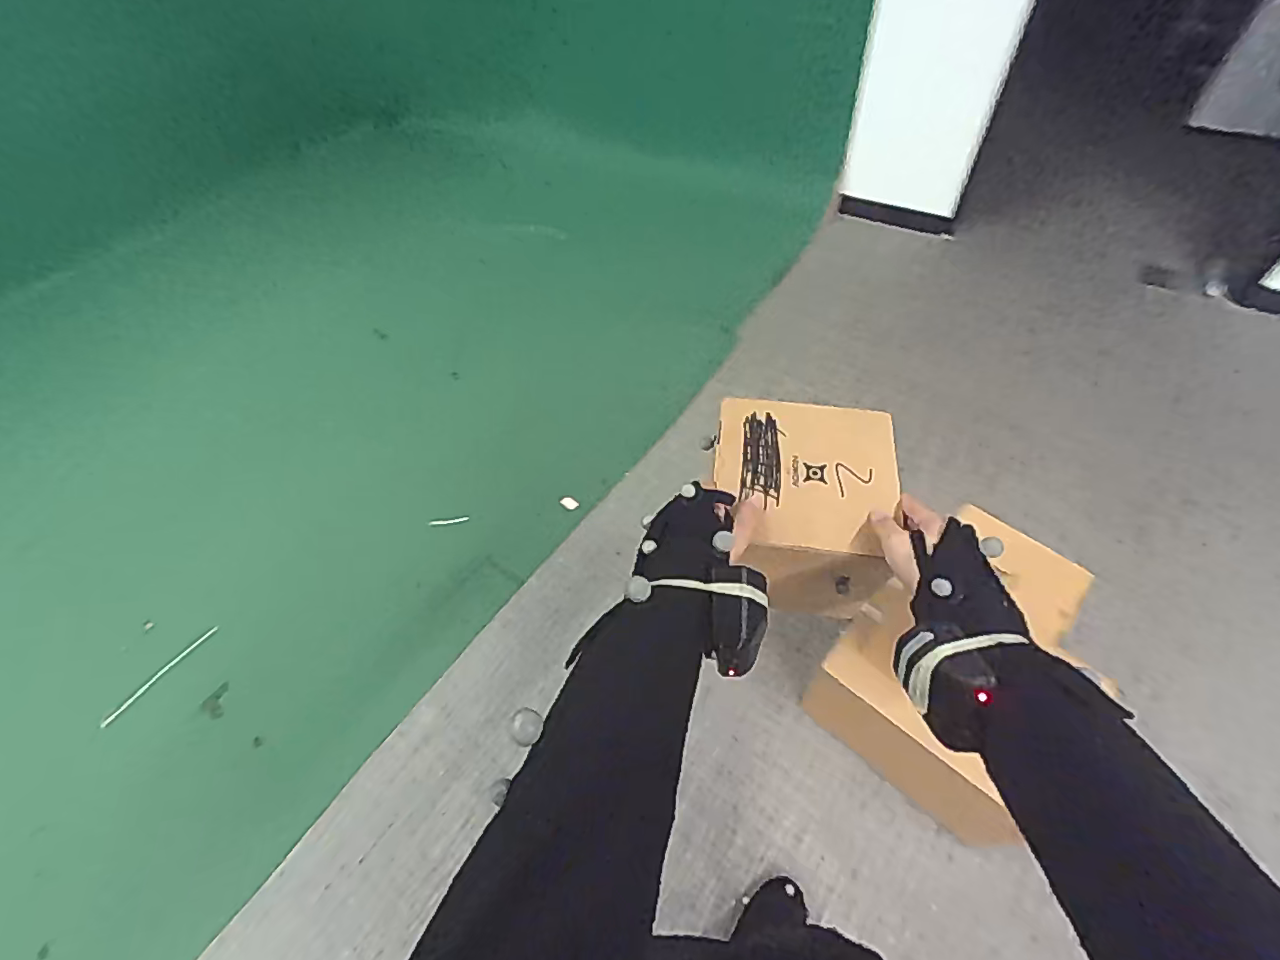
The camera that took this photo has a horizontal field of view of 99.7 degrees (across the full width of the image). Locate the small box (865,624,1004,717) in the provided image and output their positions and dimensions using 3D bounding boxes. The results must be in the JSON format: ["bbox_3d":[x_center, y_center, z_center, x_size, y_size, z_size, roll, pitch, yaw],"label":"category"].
[{"bbox_3d":[0.517,0.277,0.920,0.179,0.176,0.168,35,64,28],"label":"small box"}]

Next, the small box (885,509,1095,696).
[{"bbox_3d":[0.493,0.182,0.789,0.168,0.176,0.179,-40,60,-22],"label":"small box"}]

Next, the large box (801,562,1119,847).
[{"bbox_3d":[0.598,0.445,1.088,0.408,0.320,0.320,36,66,26],"label":"large box"}]
